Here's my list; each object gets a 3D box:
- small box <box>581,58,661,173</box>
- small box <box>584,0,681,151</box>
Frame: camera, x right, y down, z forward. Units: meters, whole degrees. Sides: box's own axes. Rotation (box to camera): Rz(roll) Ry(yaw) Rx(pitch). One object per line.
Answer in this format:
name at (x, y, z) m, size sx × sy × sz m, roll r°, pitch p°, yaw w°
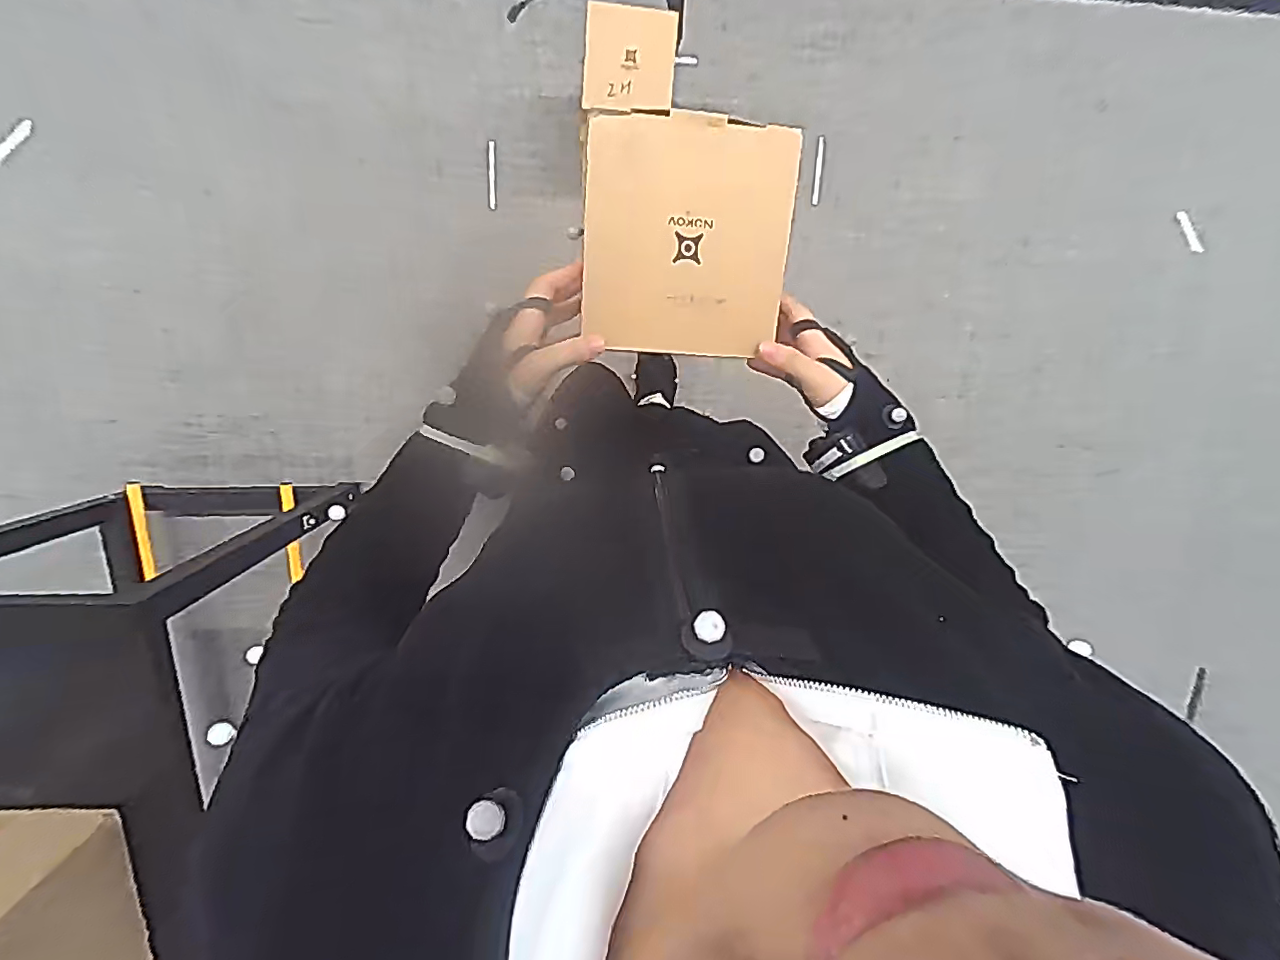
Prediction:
small box at (-0.037, -0.811, 1.216) m, size 0.179 × 0.176 × 0.168 m, roll 5°, pitch 104°, yaw -5°
small box at (-0.020, -0.776, 1.056) m, size 0.168 × 0.176 × 0.179 m, roll 5°, pitch 104°, yaw -4°
